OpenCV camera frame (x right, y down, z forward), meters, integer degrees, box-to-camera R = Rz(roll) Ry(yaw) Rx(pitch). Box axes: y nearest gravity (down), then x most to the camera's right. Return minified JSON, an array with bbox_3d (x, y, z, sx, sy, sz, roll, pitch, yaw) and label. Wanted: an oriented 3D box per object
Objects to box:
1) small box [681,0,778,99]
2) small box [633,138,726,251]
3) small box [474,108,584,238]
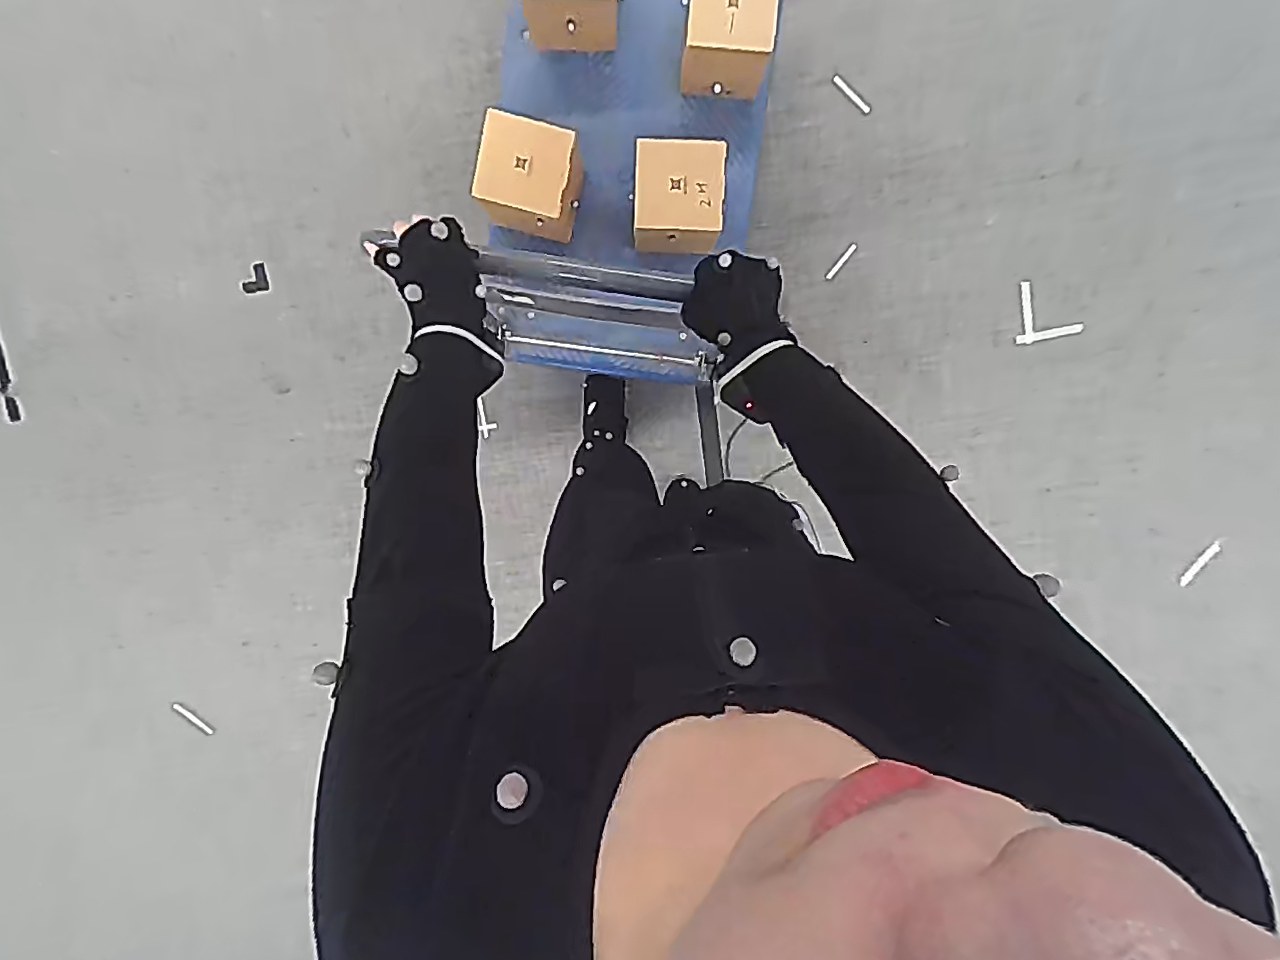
[{"bbox_3d":[0.175,-0.911,1.085,0.168,0.176,0.179,5,99,0],"label":"small box"},{"bbox_3d":[0.078,-0.588,1.134,0.179,0.176,0.168,2,99,0],"label":"small box"},{"bbox_3d":[-0.223,-0.627,1.128,0.179,0.176,0.168,13,98,-4],"label":"small box"}]
